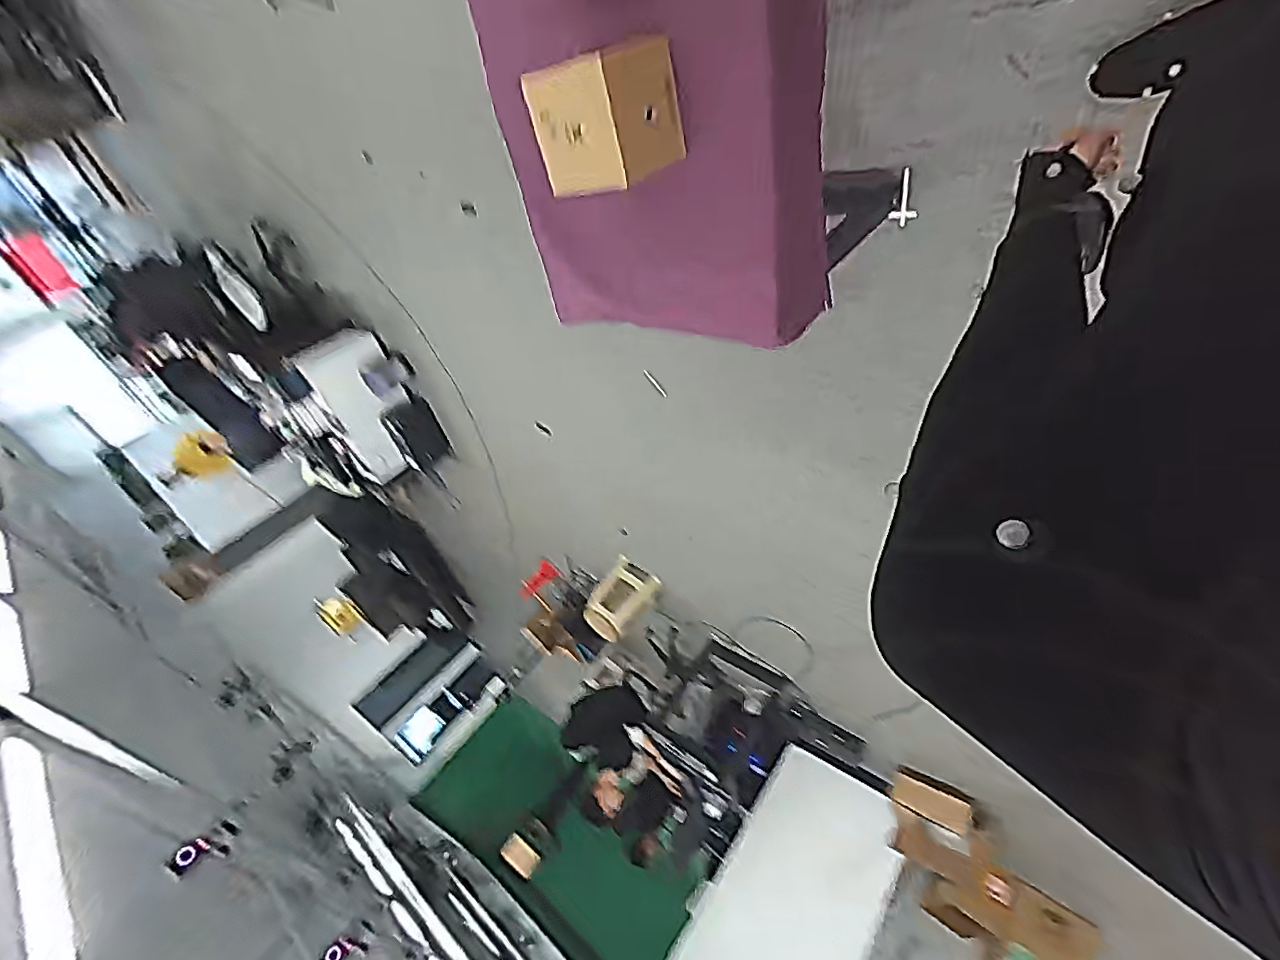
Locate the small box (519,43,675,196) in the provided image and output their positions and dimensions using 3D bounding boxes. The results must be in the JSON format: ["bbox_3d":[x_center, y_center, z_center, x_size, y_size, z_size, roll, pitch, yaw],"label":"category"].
[{"bbox_3d":[-0.058,-0.583,0.882,0.179,0.176,0.168,19,140,37],"label":"small box"}]
